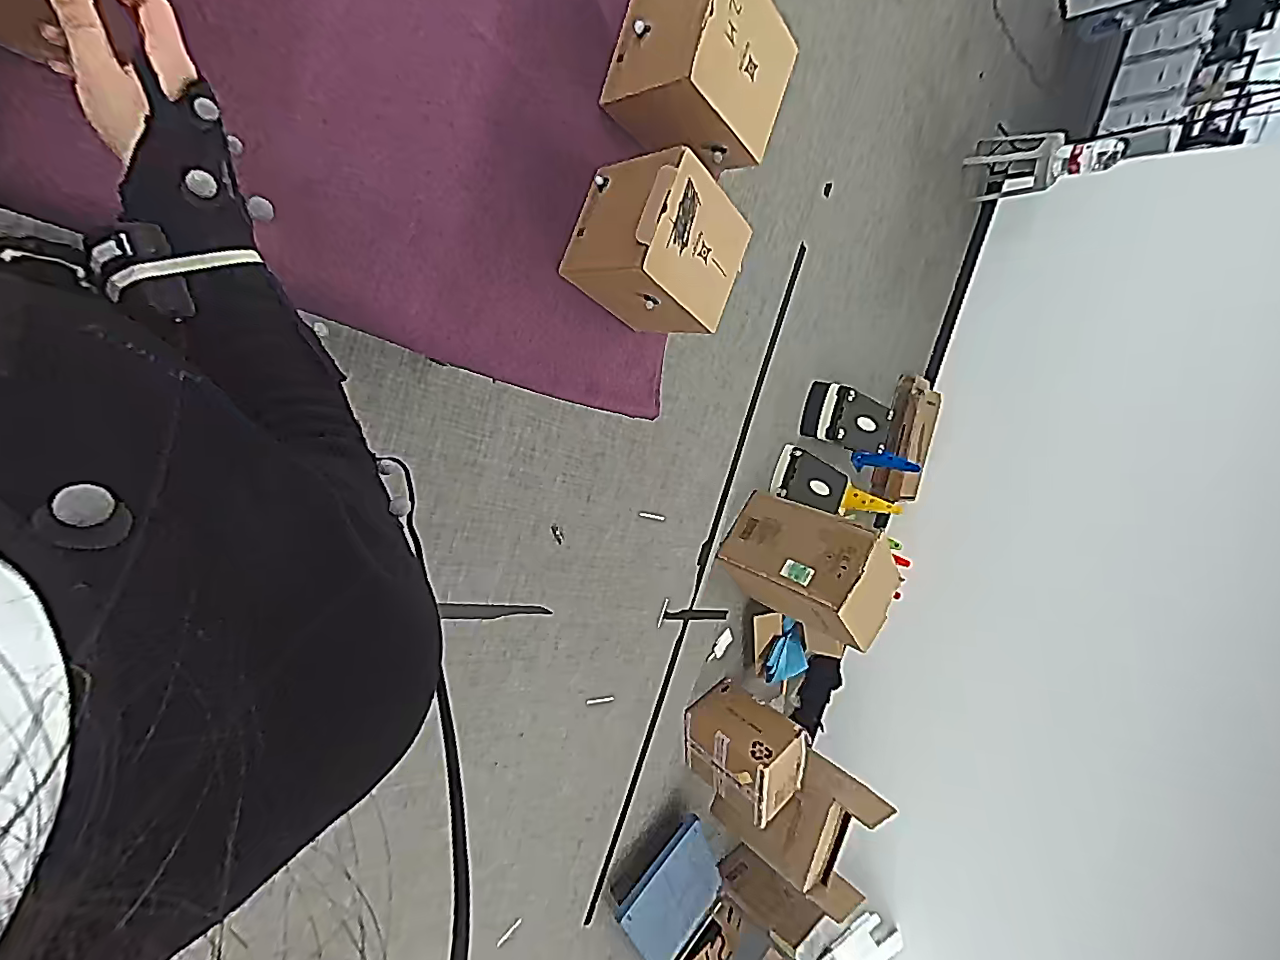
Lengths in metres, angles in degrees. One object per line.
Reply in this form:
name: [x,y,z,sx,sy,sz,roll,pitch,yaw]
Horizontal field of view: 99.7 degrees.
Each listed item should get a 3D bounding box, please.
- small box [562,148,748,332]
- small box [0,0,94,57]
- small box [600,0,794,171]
small box: [0.019,-0.325,0.770,0.179,0.176,0.168,24,86,-48]
small box: [-0.422,-0.381,0.301,0.179,0.176,0.168,7,99,-46]
small box: [0.077,-0.552,0.745,0.179,0.176,0.168,15,95,-48]
